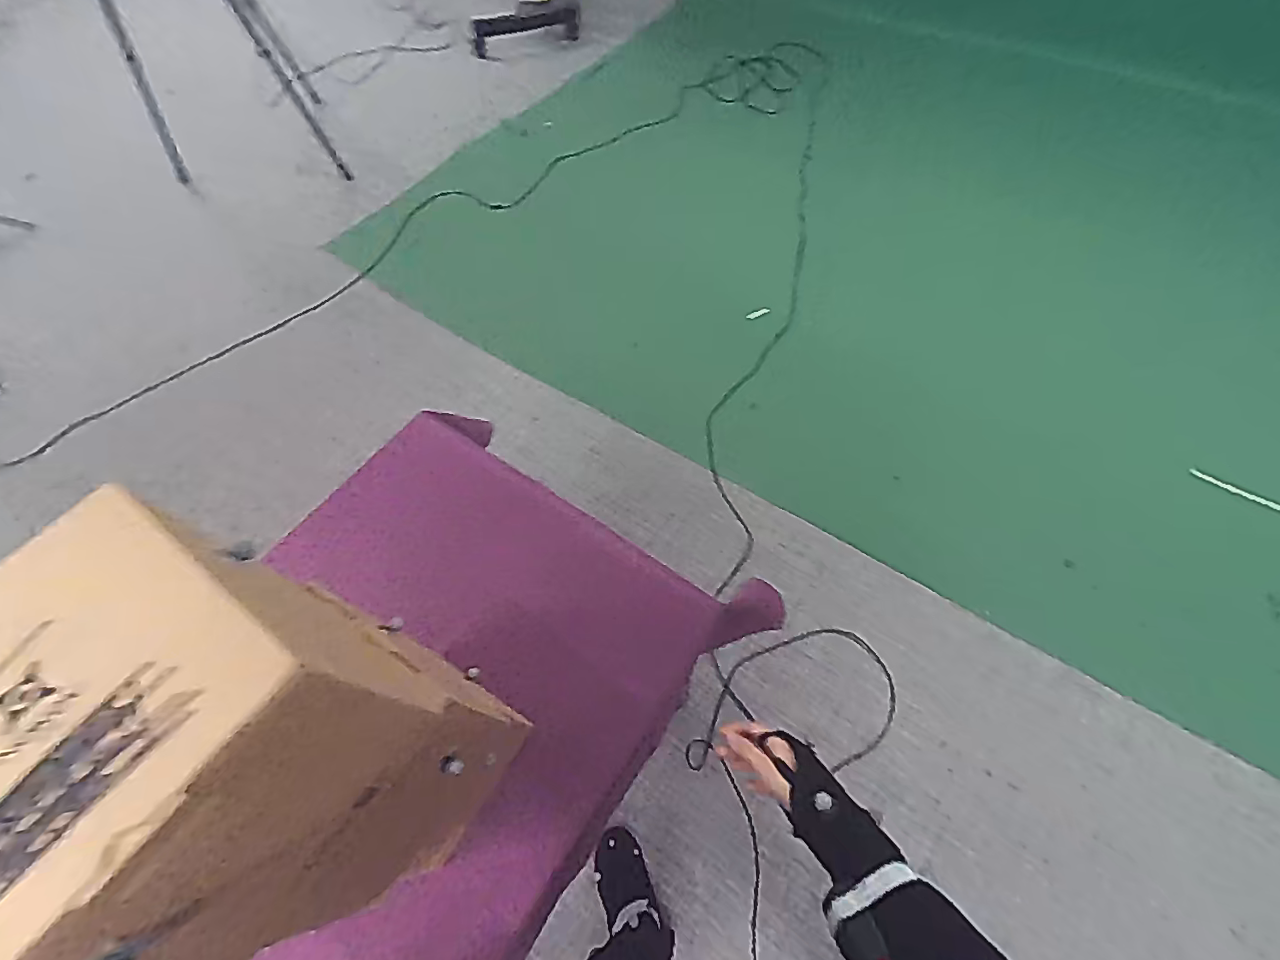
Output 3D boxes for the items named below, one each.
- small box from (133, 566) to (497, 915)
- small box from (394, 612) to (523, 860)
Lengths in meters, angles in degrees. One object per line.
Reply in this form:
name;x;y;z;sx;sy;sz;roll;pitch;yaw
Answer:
small box;-0.245;0.211;0.462;0.168;0.176;0.179;29;66;20
small box;-0.251;0.285;0.608;0.168;0.176;0.179;27;64;19
